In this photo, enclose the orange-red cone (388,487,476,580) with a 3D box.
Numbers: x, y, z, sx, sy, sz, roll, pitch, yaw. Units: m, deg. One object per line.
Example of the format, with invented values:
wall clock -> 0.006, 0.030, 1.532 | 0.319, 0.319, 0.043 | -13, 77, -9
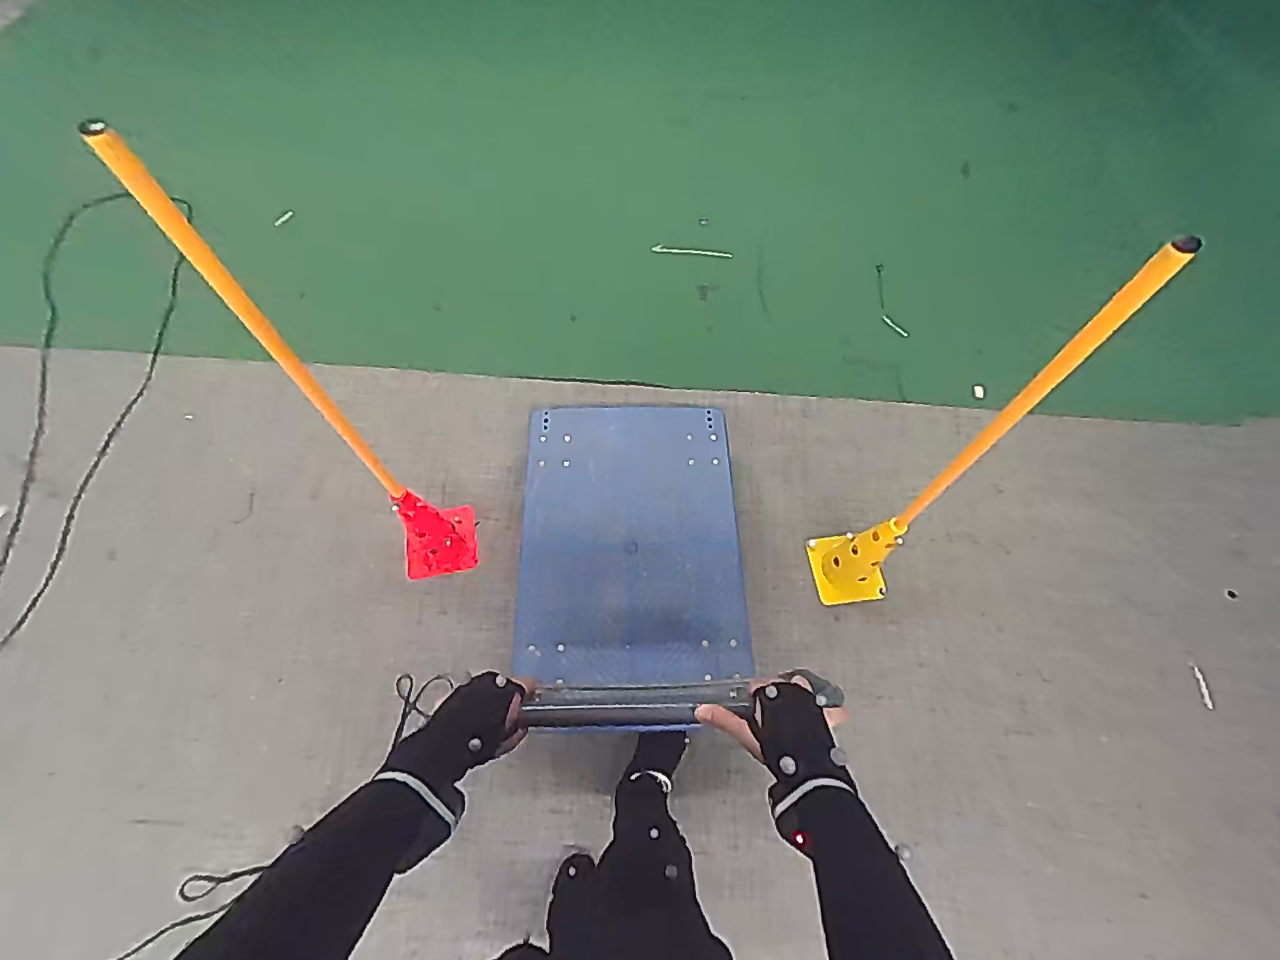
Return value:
orange-red cone -> -0.574, 0.110, 1.415 | 0.199, 0.360, 0.198 | -10, 65, -5
